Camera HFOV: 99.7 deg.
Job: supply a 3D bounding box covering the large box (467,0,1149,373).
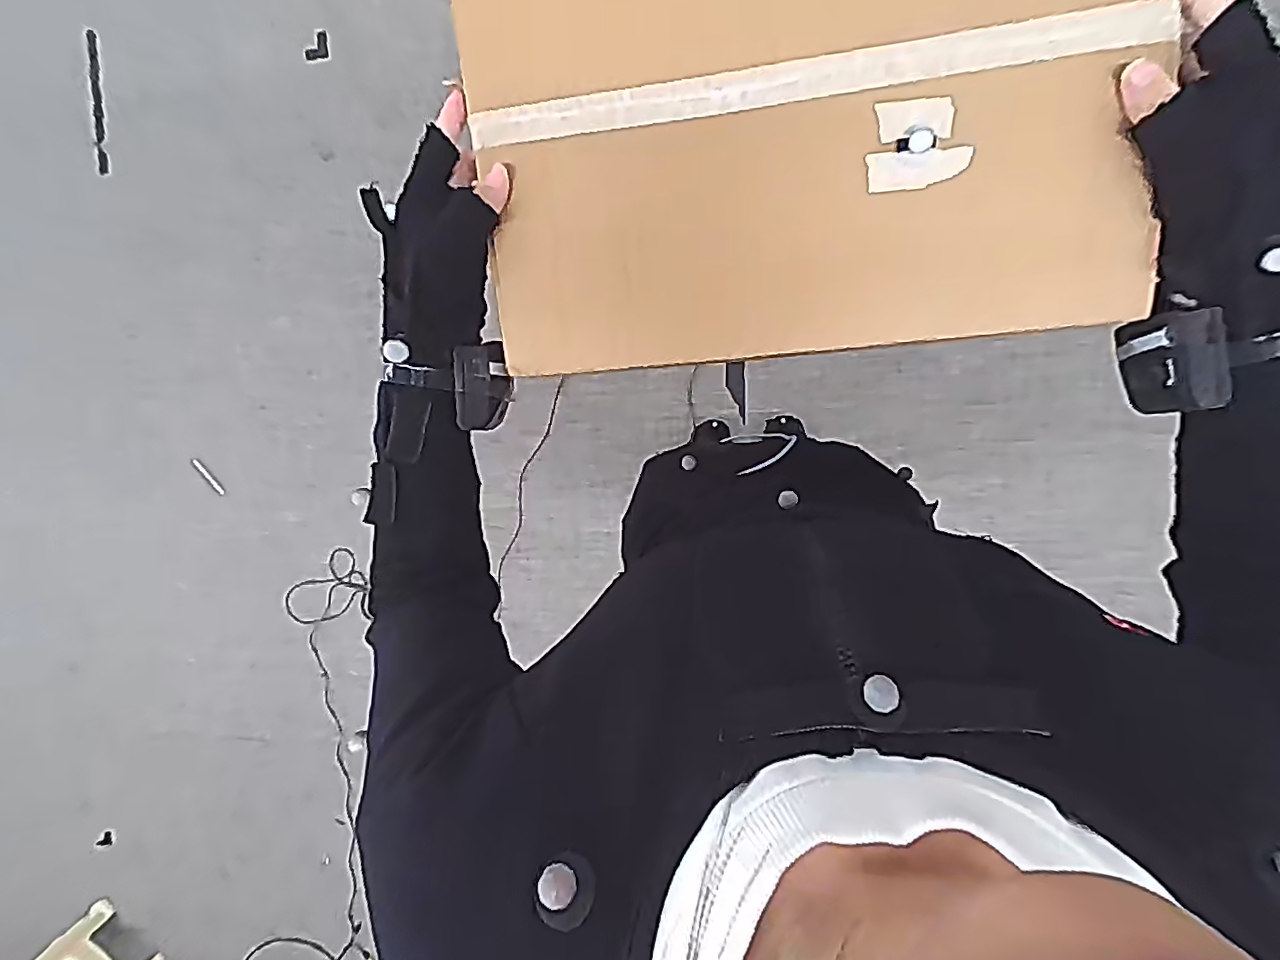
[{"bbox_3d":[0.108,-0.274,0.480,0.408,0.320,0.320,-4,102,7],"label":"large box"}]
